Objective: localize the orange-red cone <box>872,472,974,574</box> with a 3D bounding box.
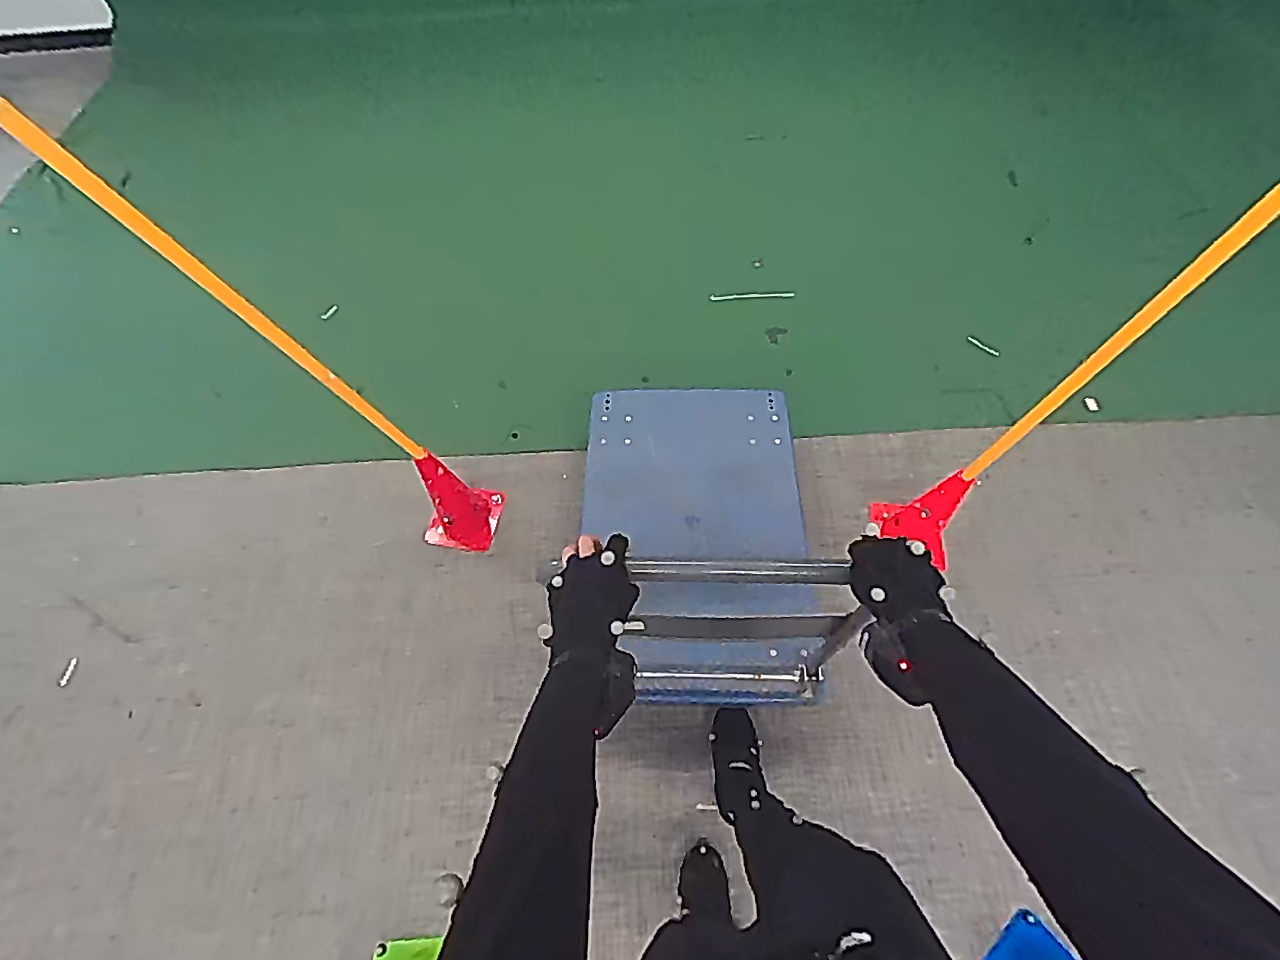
[{"bbox_3d":[0.763,0.084,1.401,0.198,0.360,0.199,7,61,7],"label":"orange-red cone"}]
